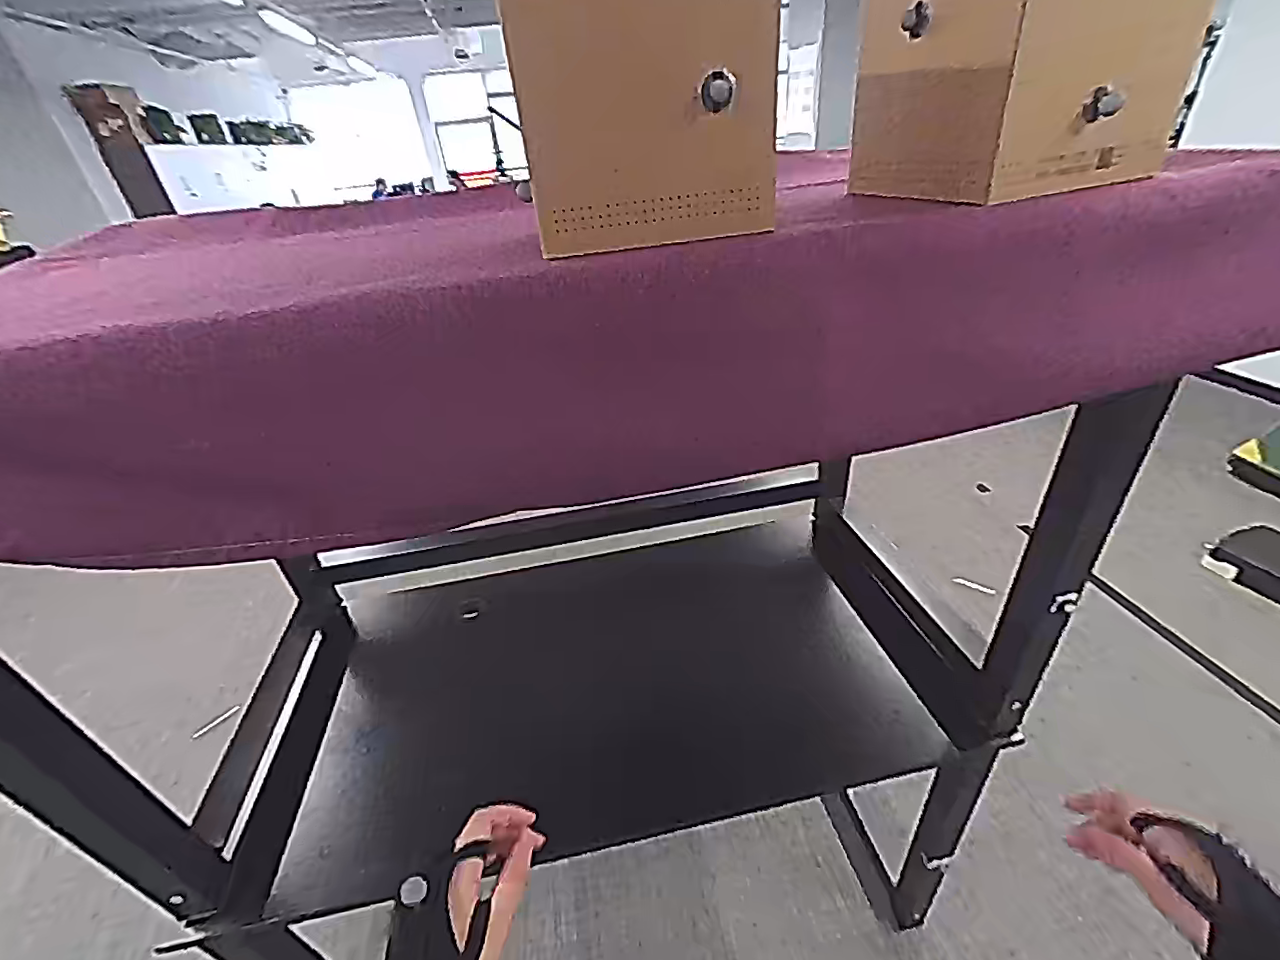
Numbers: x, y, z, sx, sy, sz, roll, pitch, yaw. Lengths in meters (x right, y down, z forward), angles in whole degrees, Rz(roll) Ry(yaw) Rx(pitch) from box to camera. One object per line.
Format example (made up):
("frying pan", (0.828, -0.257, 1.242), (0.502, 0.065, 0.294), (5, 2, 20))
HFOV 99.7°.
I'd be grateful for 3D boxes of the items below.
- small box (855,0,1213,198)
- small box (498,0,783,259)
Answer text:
("small box", (0.298, -0.334, 0.441), (0.168, 0.176, 0.179), (-14, 32, -10))
("small box", (-0.001, -0.282, 0.421), (0.179, 0.176, 0.168), (-9, 31, -3))
